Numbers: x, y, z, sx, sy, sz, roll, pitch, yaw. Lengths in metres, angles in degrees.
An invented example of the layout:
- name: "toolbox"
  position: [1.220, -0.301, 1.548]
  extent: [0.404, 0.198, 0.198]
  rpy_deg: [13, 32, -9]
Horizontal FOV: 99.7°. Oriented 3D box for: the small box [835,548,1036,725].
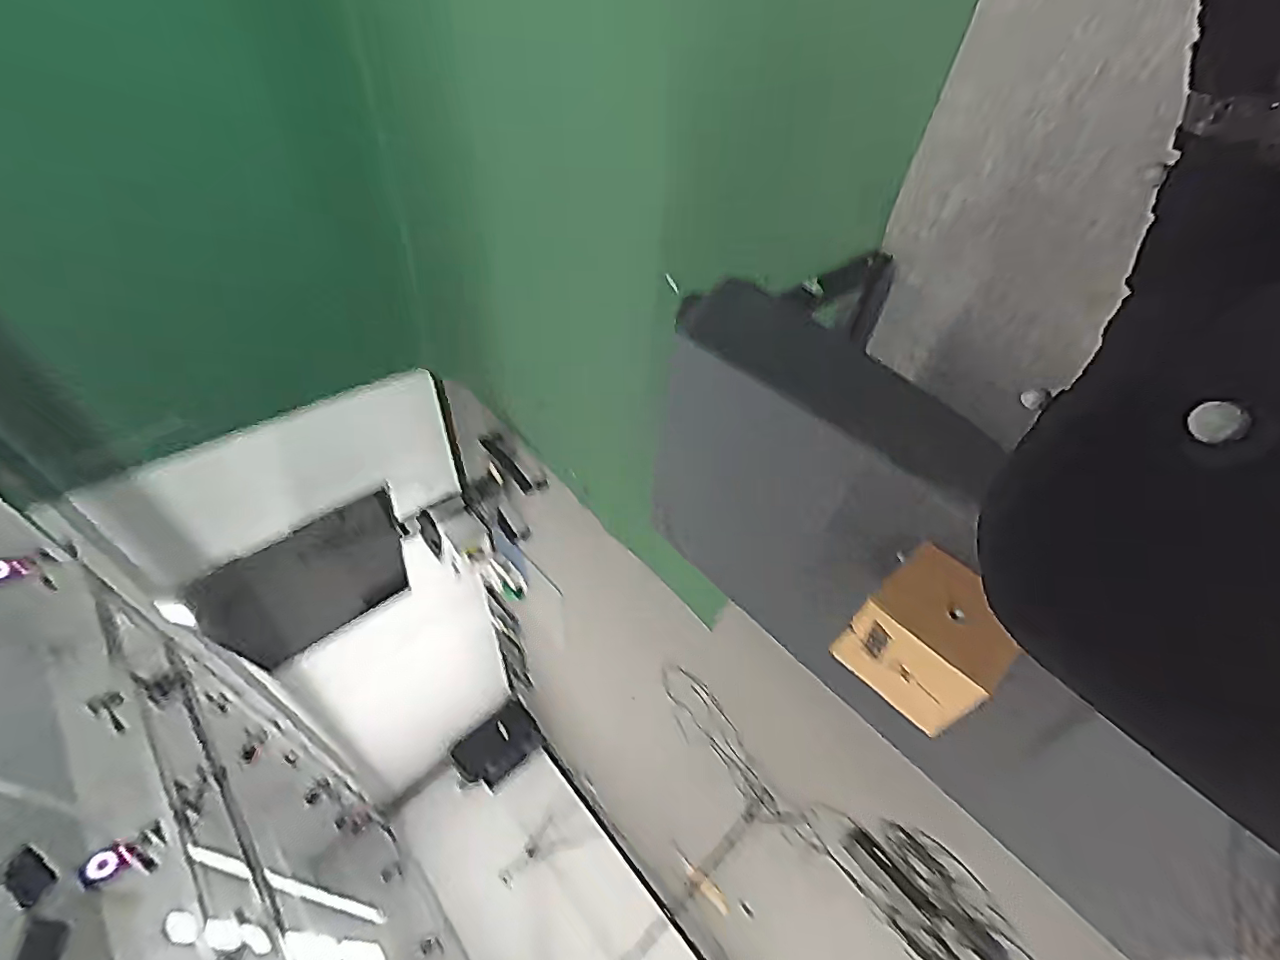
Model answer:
- name: "small box"
  position: [0.441, 0.227, 0.822]
  extent: [0.179, 0.176, 0.168]
  rpy_deg: [43, 149, 26]
